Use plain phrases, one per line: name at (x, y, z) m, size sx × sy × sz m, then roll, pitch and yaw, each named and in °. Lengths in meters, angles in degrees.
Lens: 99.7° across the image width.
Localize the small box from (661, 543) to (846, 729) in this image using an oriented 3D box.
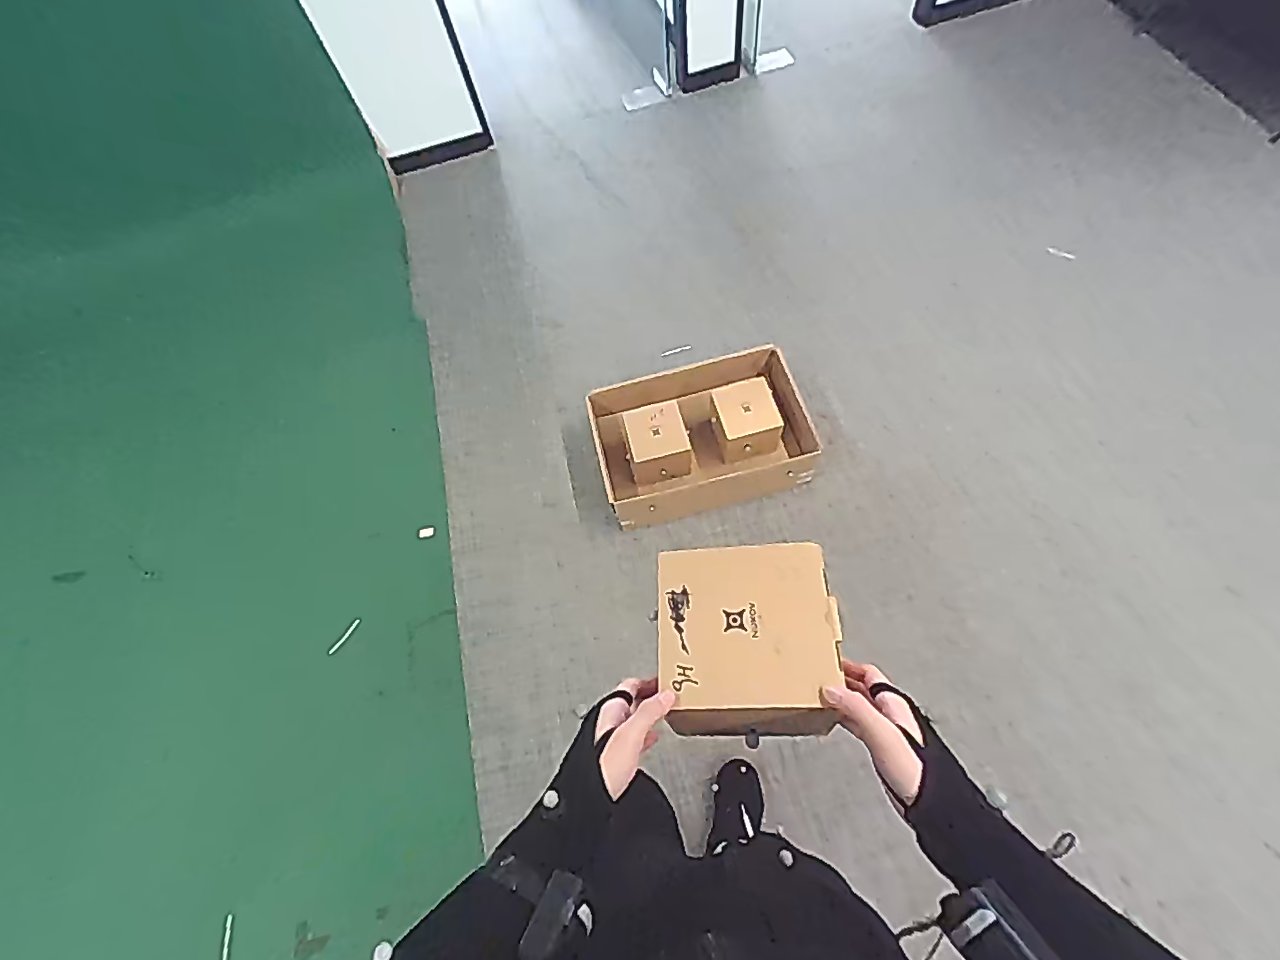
small box at (0.119, 0.183, 0.619) m, size 0.179 × 0.176 × 0.168 m, roll -4°, pitch 57°, yaw 8°

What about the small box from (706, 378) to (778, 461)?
small box at (0.304, -0.174, 1.633) m, size 0.168 × 0.176 × 0.179 m, roll -15°, pitch 64°, yaw -1°

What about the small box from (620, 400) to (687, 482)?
small box at (0.043, -0.108, 1.625) m, size 0.168 × 0.176 × 0.179 m, roll -14°, pitch 65°, yaw -2°
